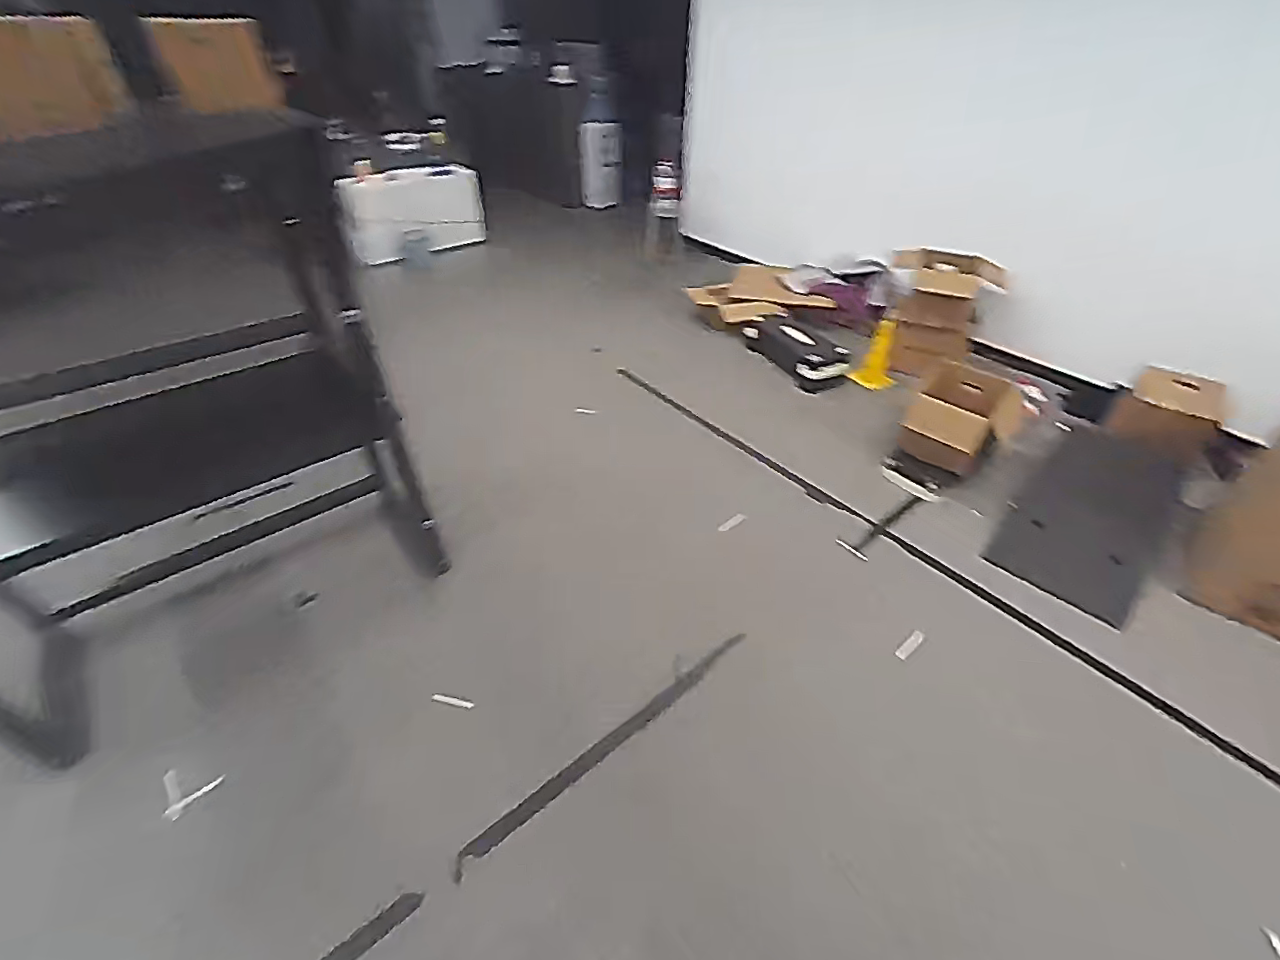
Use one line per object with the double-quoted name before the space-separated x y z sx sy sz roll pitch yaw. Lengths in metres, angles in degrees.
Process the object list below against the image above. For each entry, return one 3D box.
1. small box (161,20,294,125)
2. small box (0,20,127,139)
"small box" -0.874 -0.866 1.151 0.168 0.176 0.179 -27 47 -27
"small box" -1.106 -0.744 1.006 0.168 0.176 0.179 -28 48 -29
